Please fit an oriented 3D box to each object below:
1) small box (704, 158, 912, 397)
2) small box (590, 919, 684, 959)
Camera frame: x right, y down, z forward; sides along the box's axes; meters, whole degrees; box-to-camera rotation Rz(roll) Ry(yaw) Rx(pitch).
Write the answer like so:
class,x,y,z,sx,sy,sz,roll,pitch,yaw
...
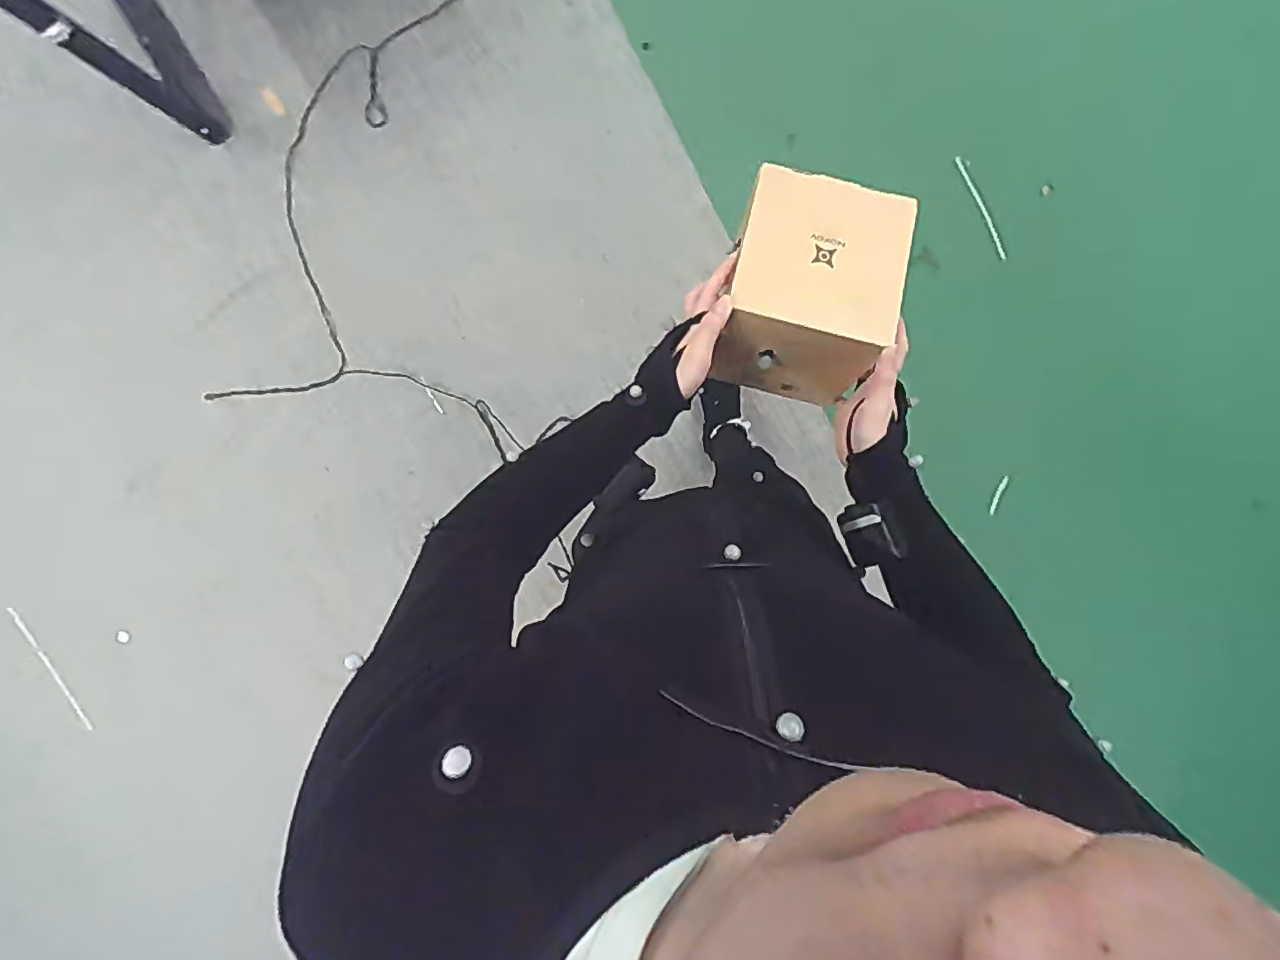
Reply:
class,x,y,z,sx,sy,sz,roll,pitch,yaw
small box,0.175,-0.213,0.613,0.168,0.176,0.179,14,77,1
small box,0.002,0.998,1.039,0.168,0.176,0.179,-23,94,4
